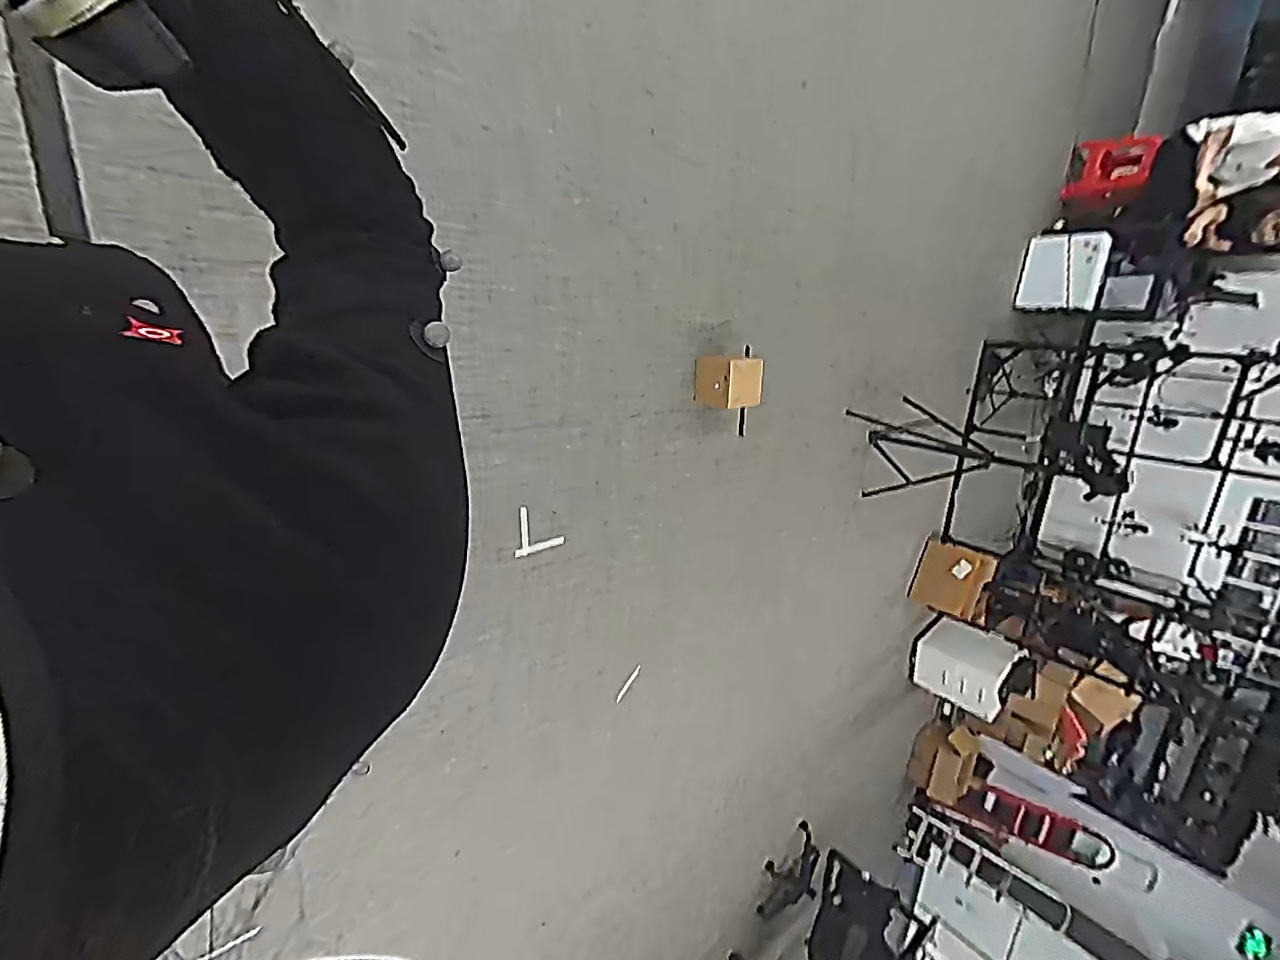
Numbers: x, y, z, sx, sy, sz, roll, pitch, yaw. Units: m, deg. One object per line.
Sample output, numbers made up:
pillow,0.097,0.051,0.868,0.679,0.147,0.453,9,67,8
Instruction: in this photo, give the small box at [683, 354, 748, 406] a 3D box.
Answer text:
small box,0.280,-0.367,1.971,0.179,0.176,0.168,-14,113,-39
